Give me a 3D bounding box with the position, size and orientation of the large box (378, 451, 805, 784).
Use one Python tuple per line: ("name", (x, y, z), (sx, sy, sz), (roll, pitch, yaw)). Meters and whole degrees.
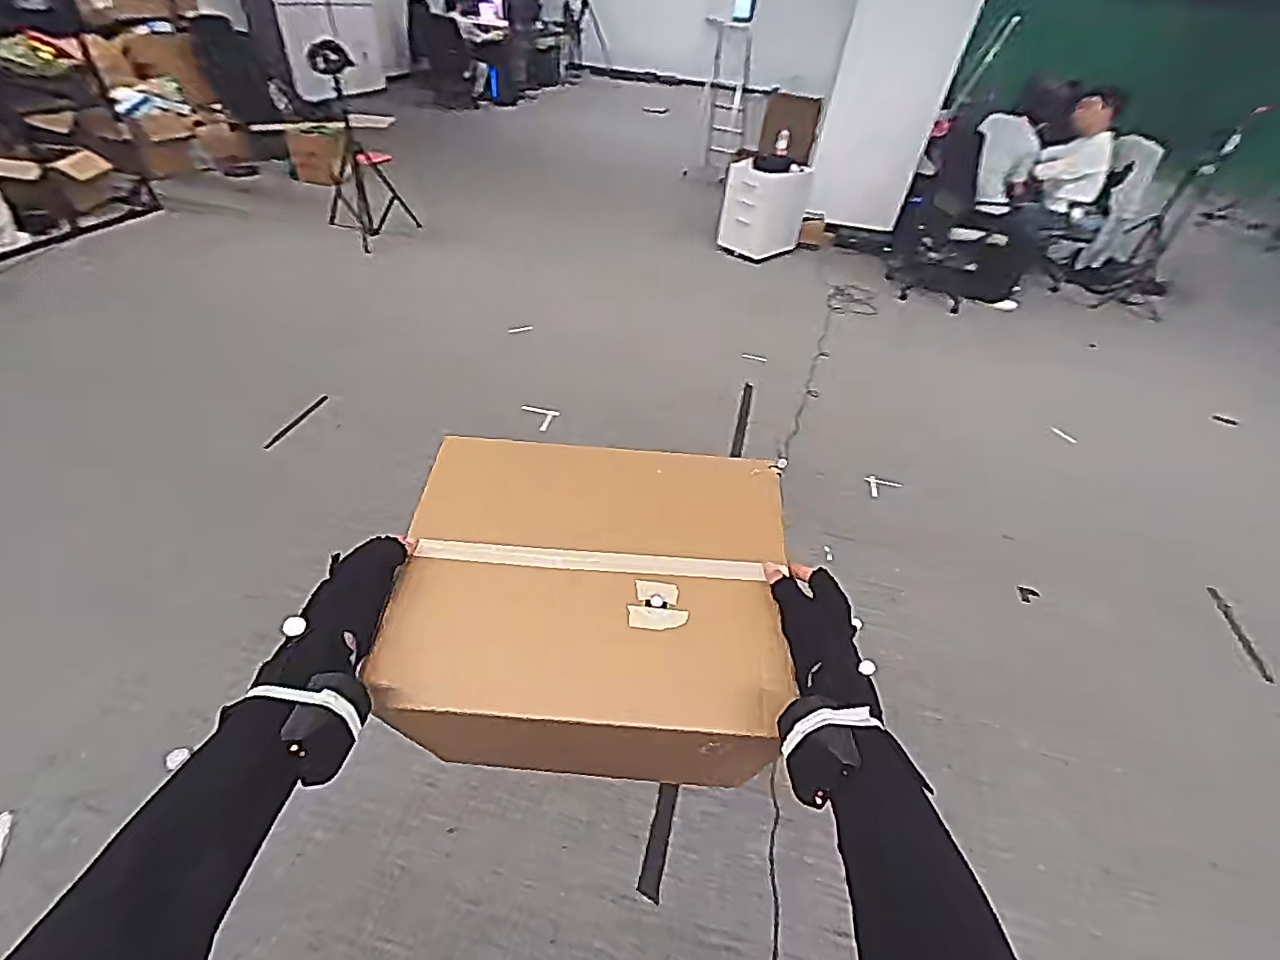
("large box", (-0.044, 0.187, 0.701), (0.408, 0.320, 0.320), (5, 54, 1))
